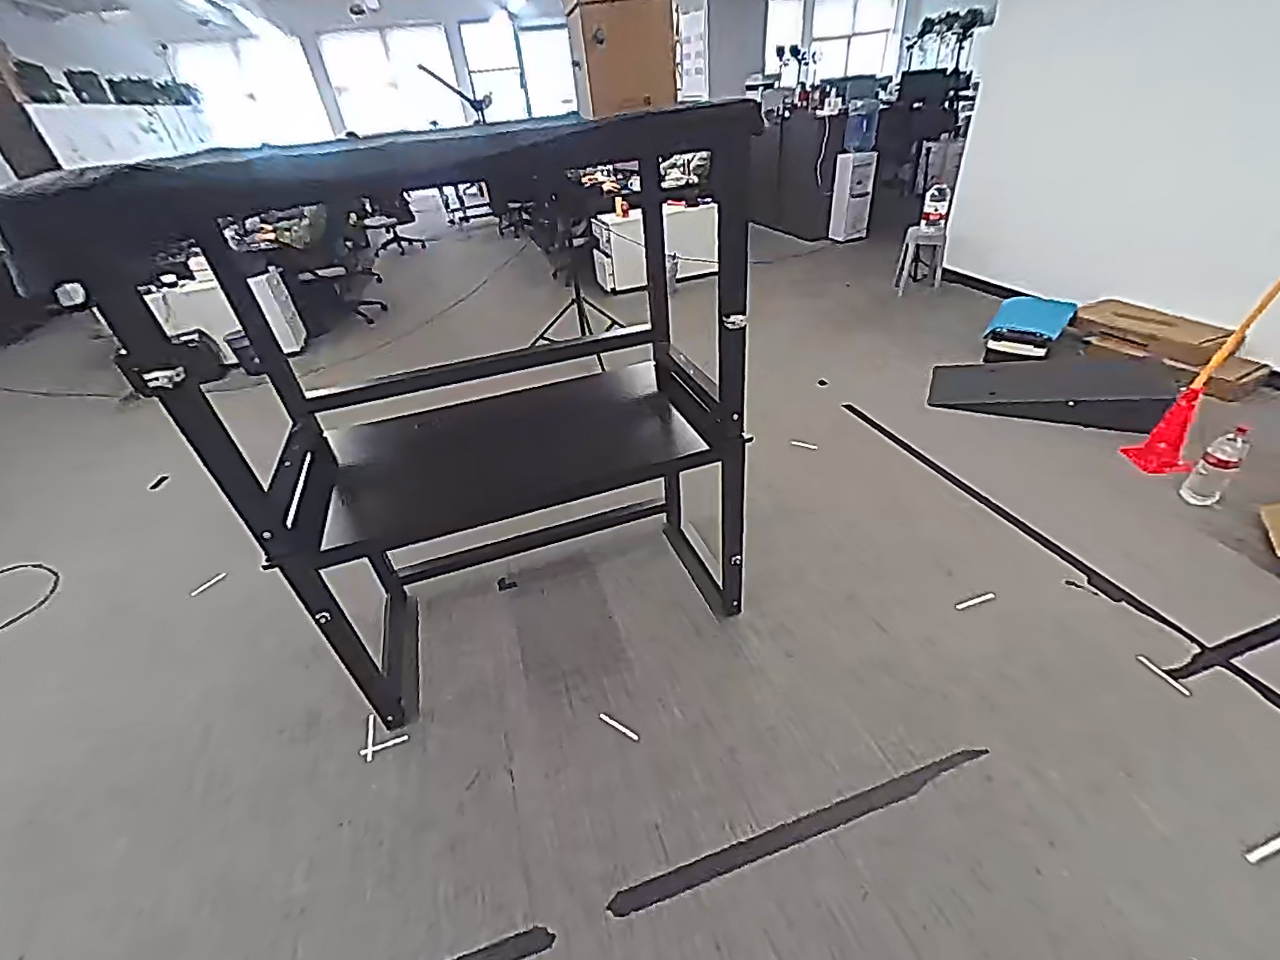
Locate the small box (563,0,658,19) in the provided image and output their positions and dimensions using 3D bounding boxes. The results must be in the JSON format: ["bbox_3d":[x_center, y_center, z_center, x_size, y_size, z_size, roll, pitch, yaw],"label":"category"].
[{"bbox_3d":[-0.056,-0.925,0.937,0.168,0.176,0.179,-14,36,-8],"label":"small box"}]
